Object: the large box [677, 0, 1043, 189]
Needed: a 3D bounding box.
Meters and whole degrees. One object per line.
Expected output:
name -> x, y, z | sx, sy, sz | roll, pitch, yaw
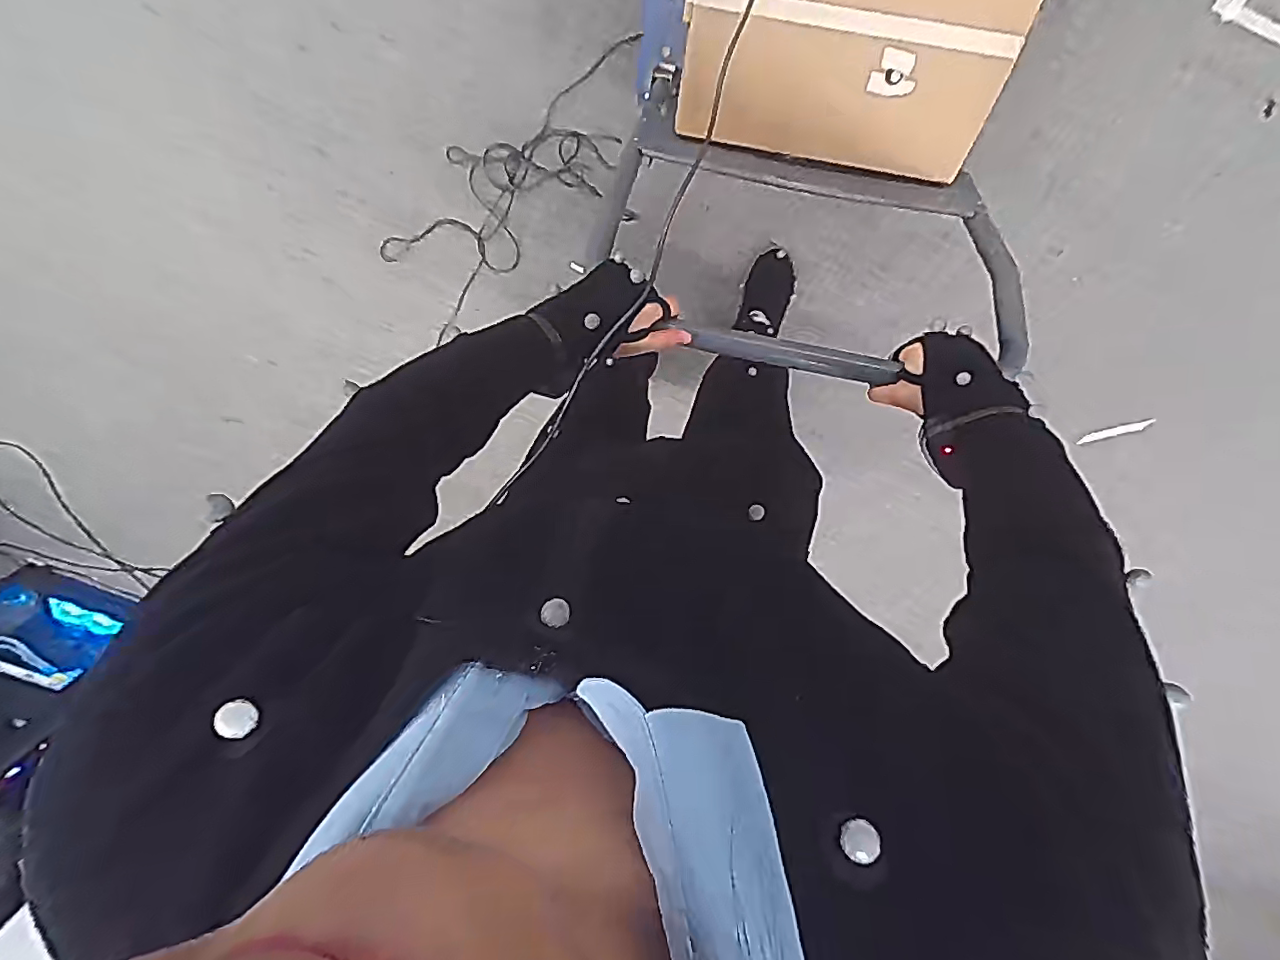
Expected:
large box -> 0.282, -0.658, 0.766 | 0.408, 0.320, 0.320 | 11, 138, 0
